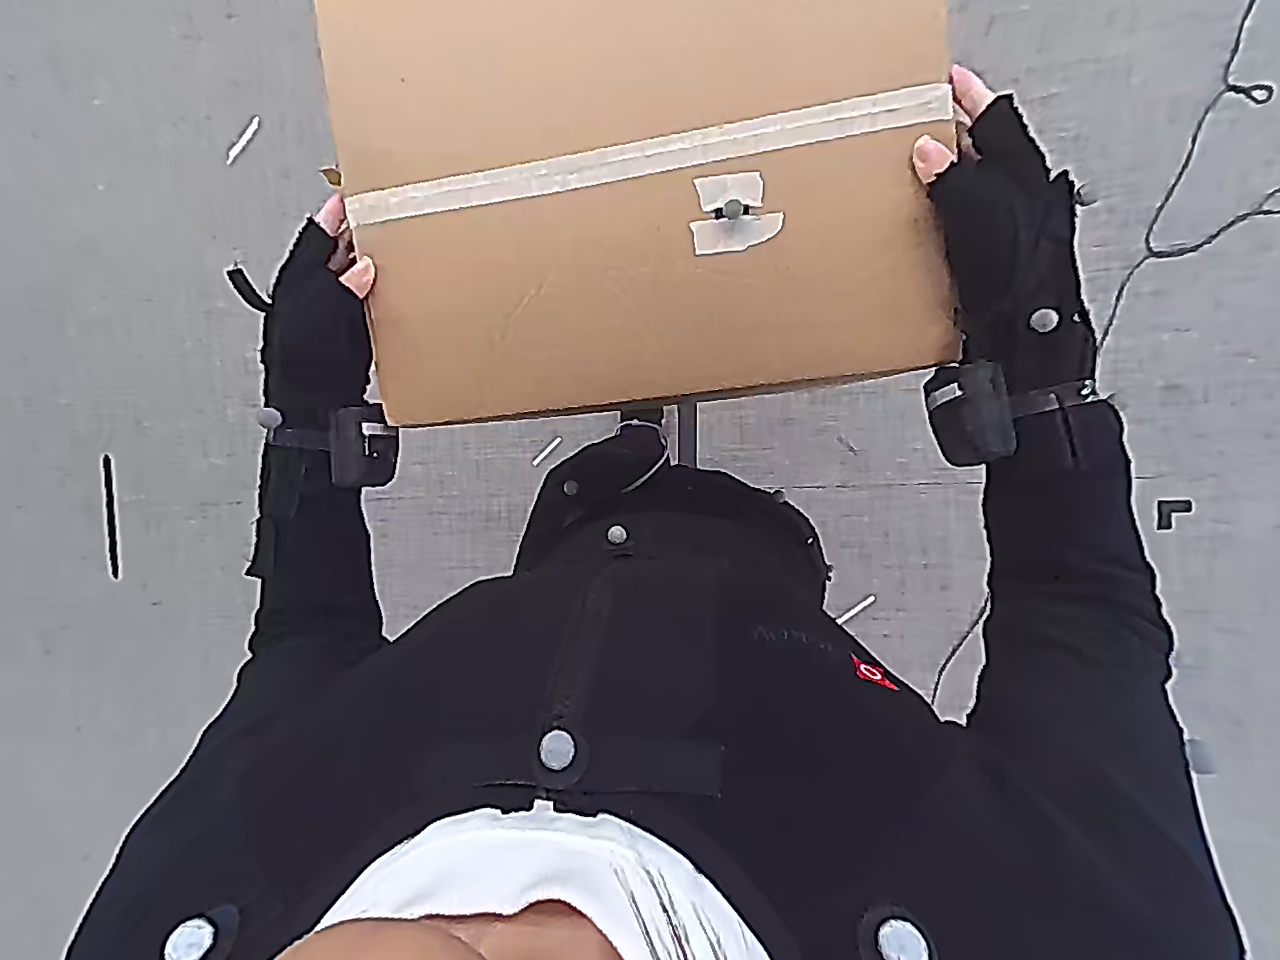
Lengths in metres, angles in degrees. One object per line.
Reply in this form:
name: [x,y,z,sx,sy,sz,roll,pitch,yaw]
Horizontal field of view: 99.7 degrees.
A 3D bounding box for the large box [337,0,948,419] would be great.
large box: [0.011,-0.239,0.522,0.408,0.320,0.320,-6,97,7]
